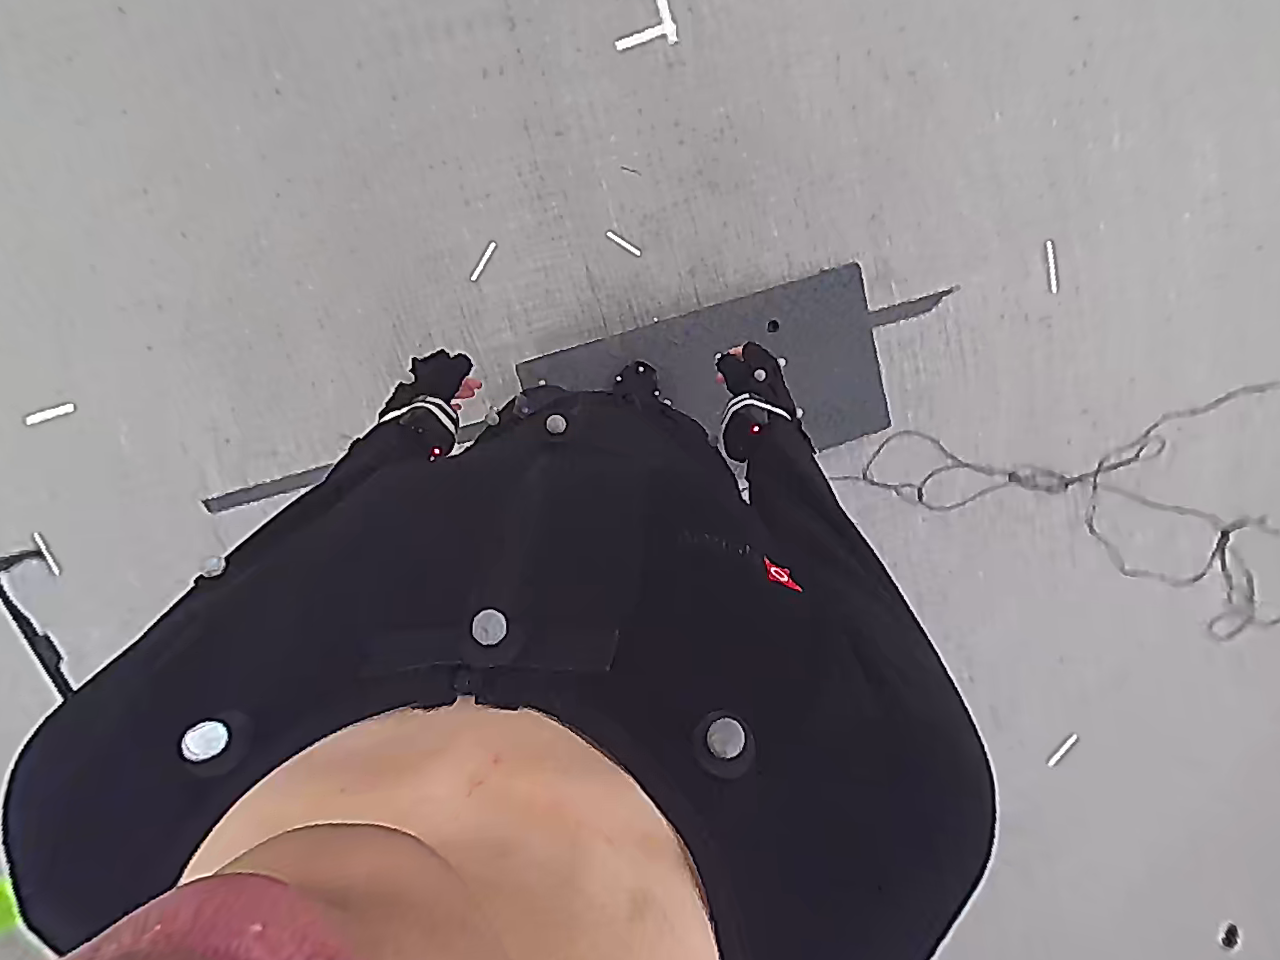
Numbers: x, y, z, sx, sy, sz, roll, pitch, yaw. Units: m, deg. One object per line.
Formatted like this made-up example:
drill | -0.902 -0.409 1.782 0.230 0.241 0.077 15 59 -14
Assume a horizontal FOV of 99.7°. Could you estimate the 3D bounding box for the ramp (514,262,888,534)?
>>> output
ramp | 0.205 -0.235 1.513 0.991 0.206 0.509 -19 101 3
